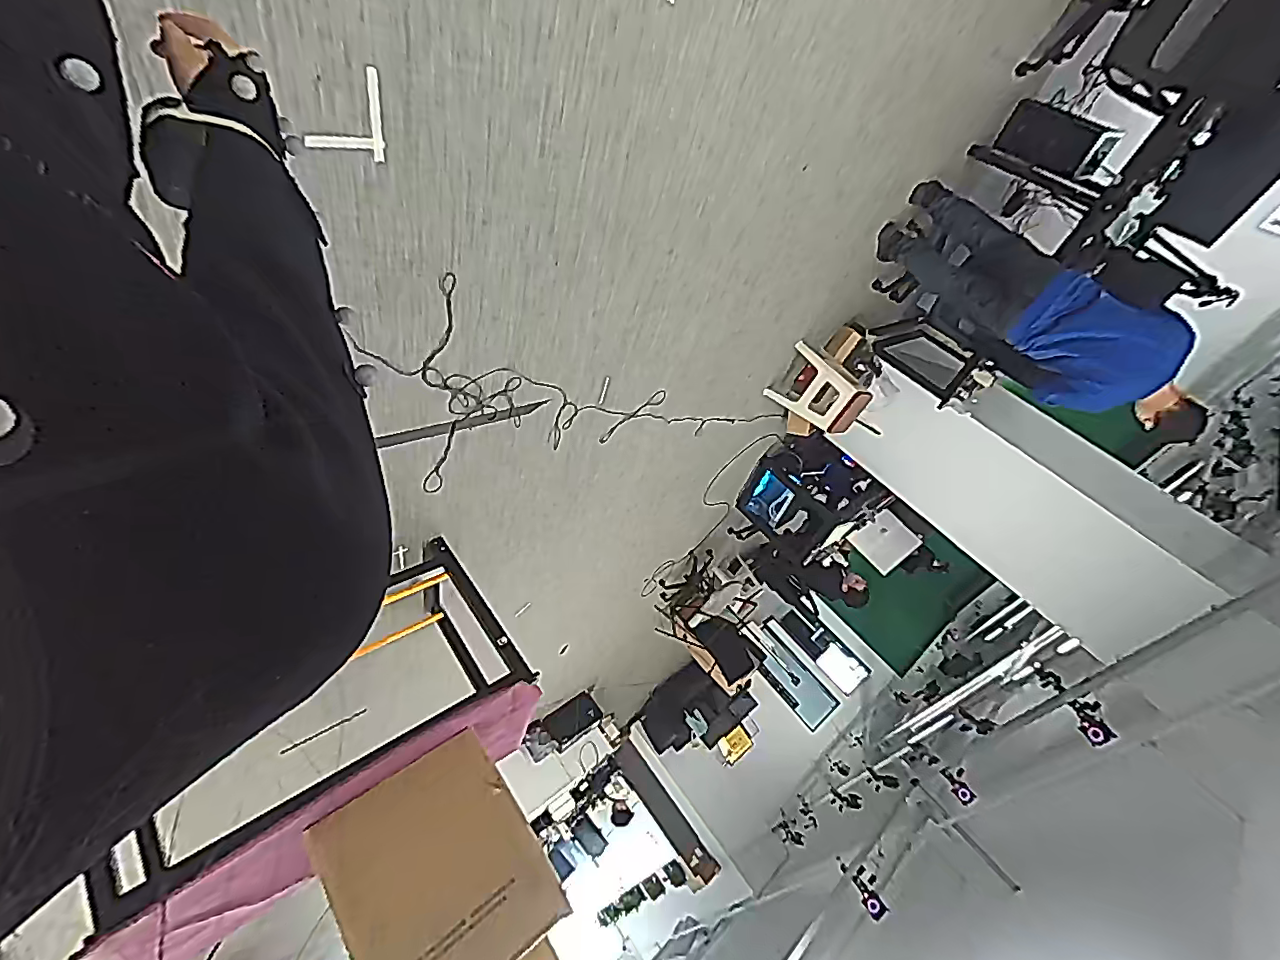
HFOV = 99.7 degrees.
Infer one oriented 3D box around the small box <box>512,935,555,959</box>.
[{"bbox_3d":[-0.336,1.533,1.638,0.179,0.176,0.168,-23,148,-34],"label":"small box"}]
